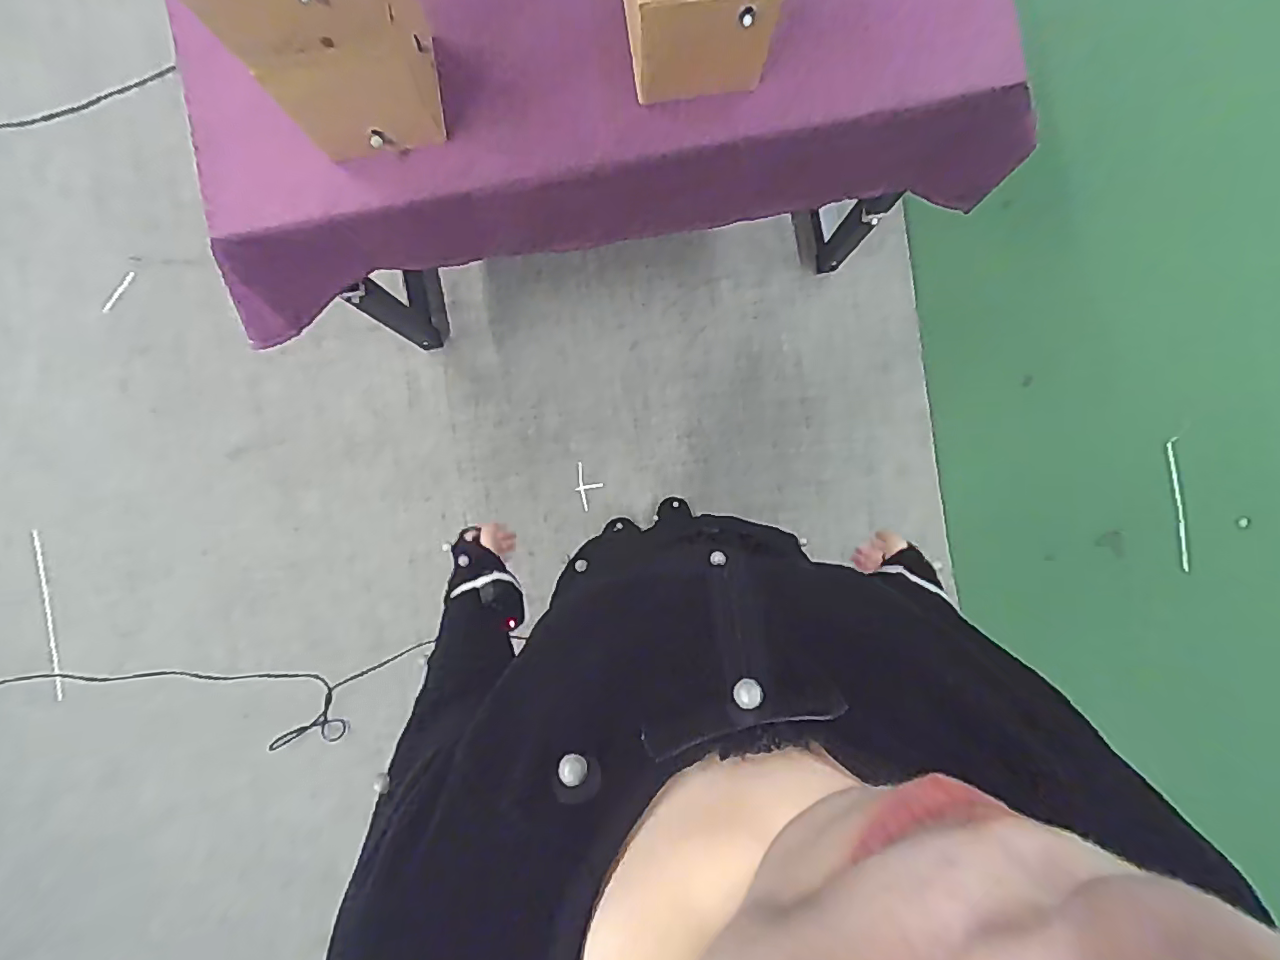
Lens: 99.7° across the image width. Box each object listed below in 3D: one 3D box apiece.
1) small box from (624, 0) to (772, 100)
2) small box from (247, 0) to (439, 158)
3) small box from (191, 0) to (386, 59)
[{"bbox_3d":[0.069,-0.636,0.706,0.179,0.176,0.168,-8,89,0],"label":"small box"},{"bbox_3d":[-0.377,-0.557,0.705,0.179,0.176,0.168,-9,89,-1],"label":"small box"},{"bbox_3d":[-0.377,-0.565,0.542,0.168,0.176,0.179,-7,89,-1],"label":"small box"}]
